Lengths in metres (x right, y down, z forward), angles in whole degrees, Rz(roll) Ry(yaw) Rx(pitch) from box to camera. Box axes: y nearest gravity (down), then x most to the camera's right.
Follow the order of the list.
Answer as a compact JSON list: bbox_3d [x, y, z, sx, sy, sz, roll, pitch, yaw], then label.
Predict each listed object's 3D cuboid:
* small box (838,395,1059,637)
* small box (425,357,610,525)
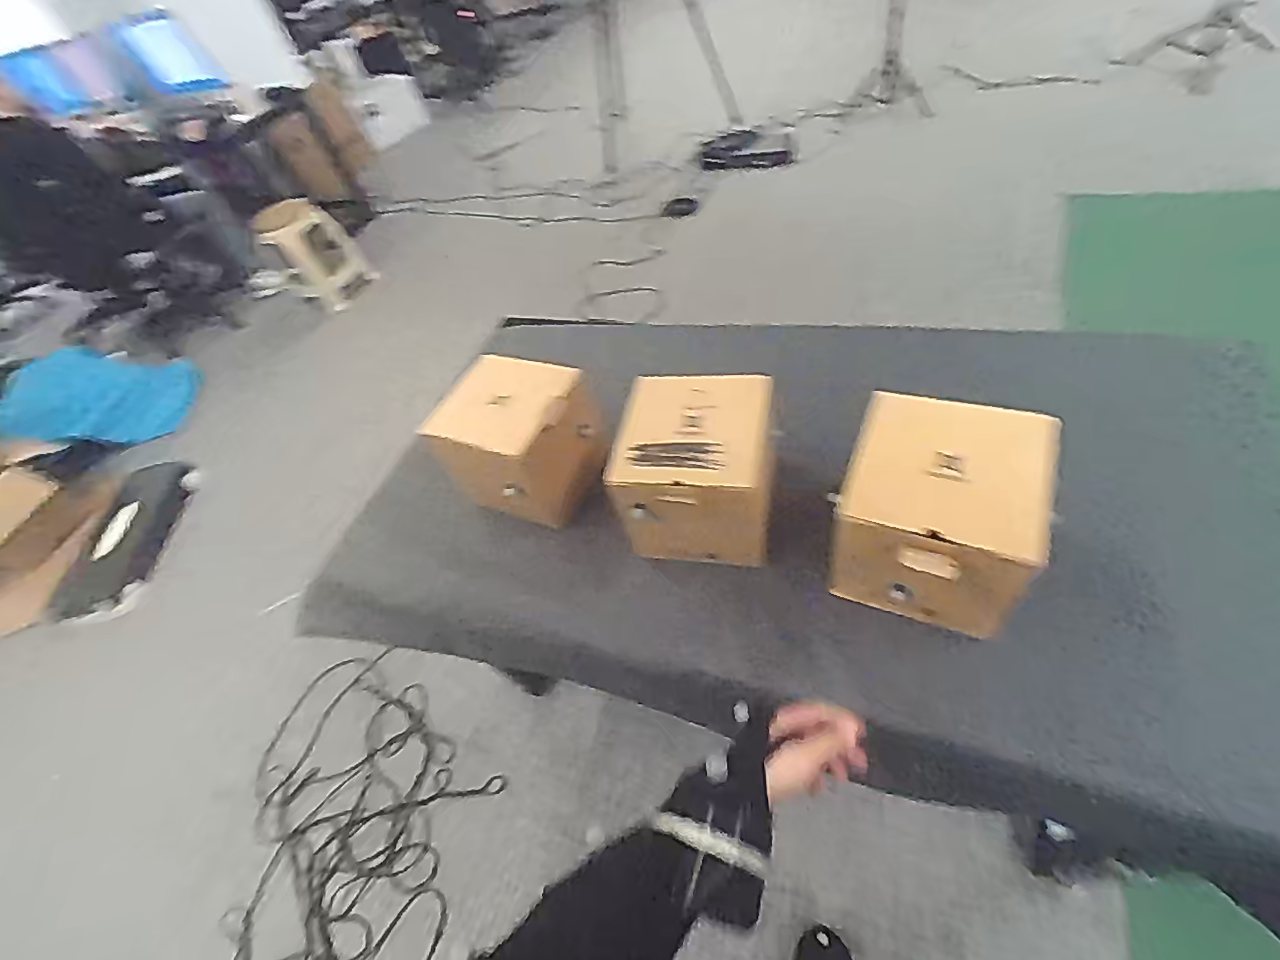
[{"bbox_3d":[0.320,0.038,0.585,0.168,0.176,0.179,14,58,25],"label":"small box"},{"bbox_3d":[-0.166,-0.055,0.795,0.179,0.176,0.168,13,56,25],"label":"small box"}]
